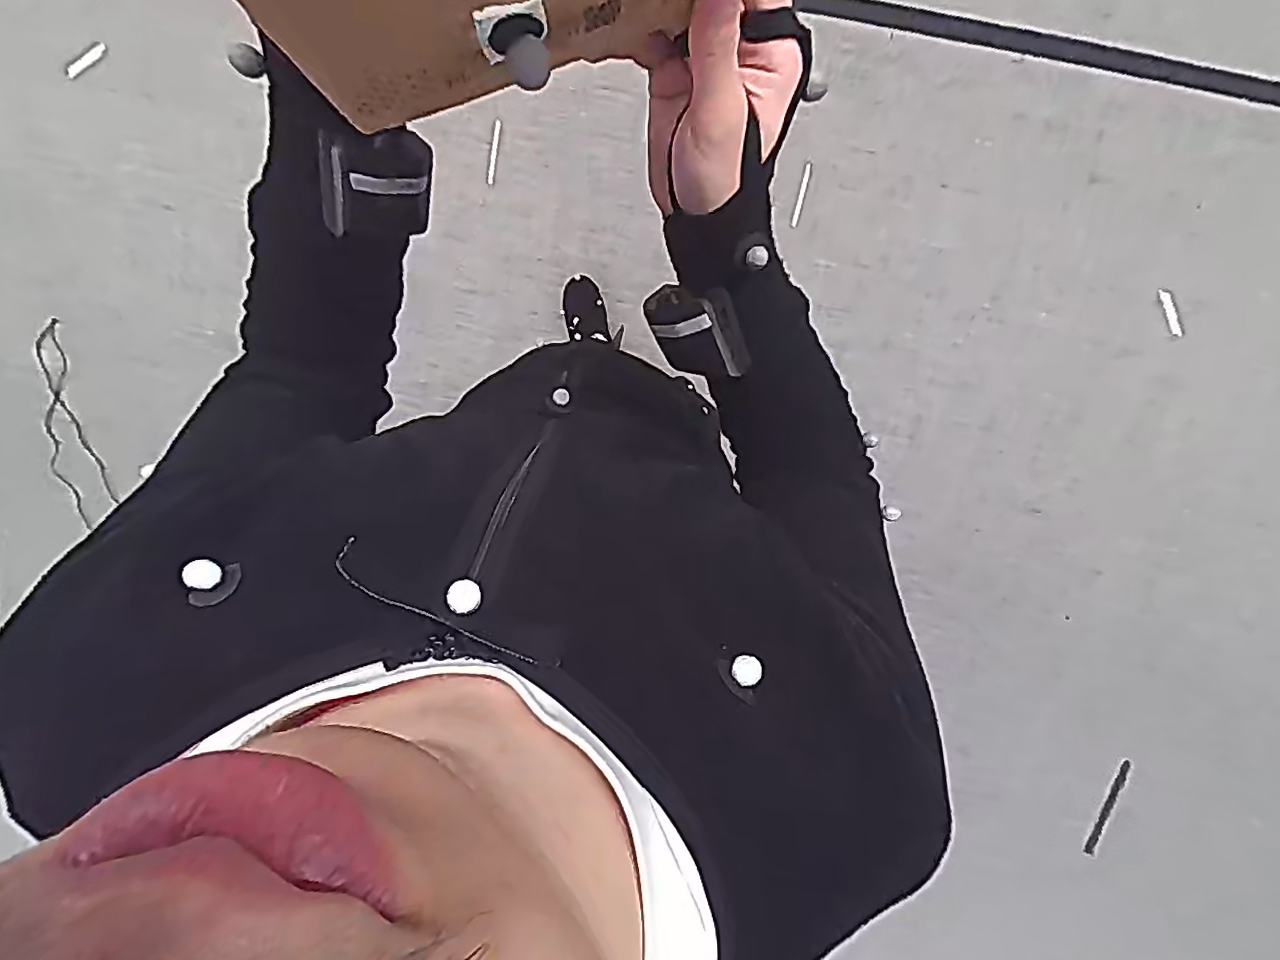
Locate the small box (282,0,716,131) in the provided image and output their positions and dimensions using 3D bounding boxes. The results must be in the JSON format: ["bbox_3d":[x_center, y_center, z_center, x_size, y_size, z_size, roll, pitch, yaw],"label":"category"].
[{"bbox_3d":[-0.060,-0.237,0.139,0.168,0.176,0.179,-22,104,0],"label":"small box"}]
